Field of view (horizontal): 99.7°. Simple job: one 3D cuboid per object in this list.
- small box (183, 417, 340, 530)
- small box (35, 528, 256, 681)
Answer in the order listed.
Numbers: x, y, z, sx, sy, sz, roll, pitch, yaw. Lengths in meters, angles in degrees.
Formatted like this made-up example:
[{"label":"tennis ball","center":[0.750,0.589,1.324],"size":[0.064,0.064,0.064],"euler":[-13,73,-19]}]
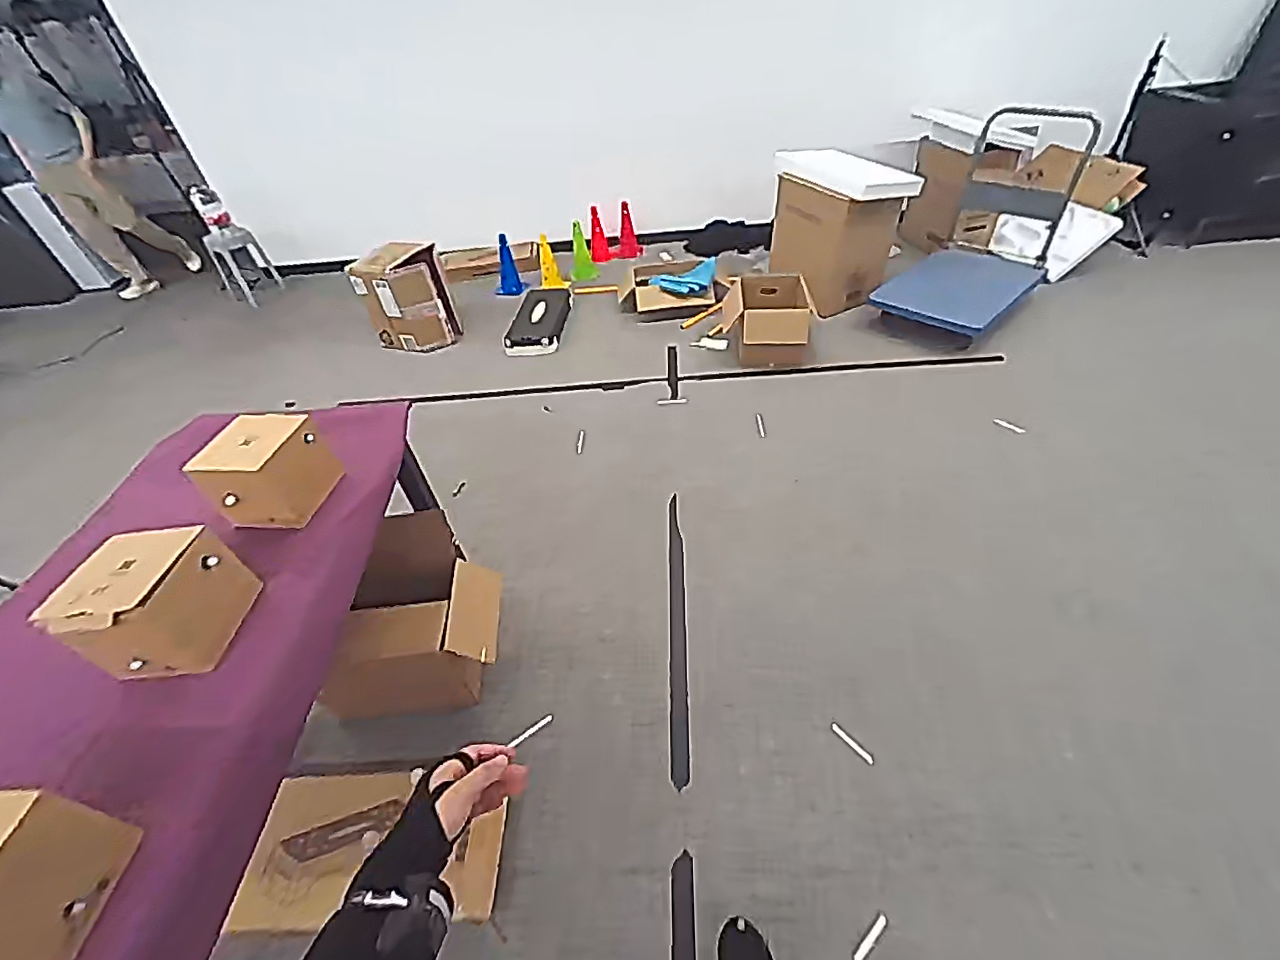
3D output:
[{"label":"small box","center":[-0.763,-0.012,1.118],"size":[0.168,0.176,0.179],"euler":[0,43,8]},{"label":"small box","center":[-0.780,0.204,0.884],"size":[0.168,0.176,0.179],"euler":[-7,42,4]}]
